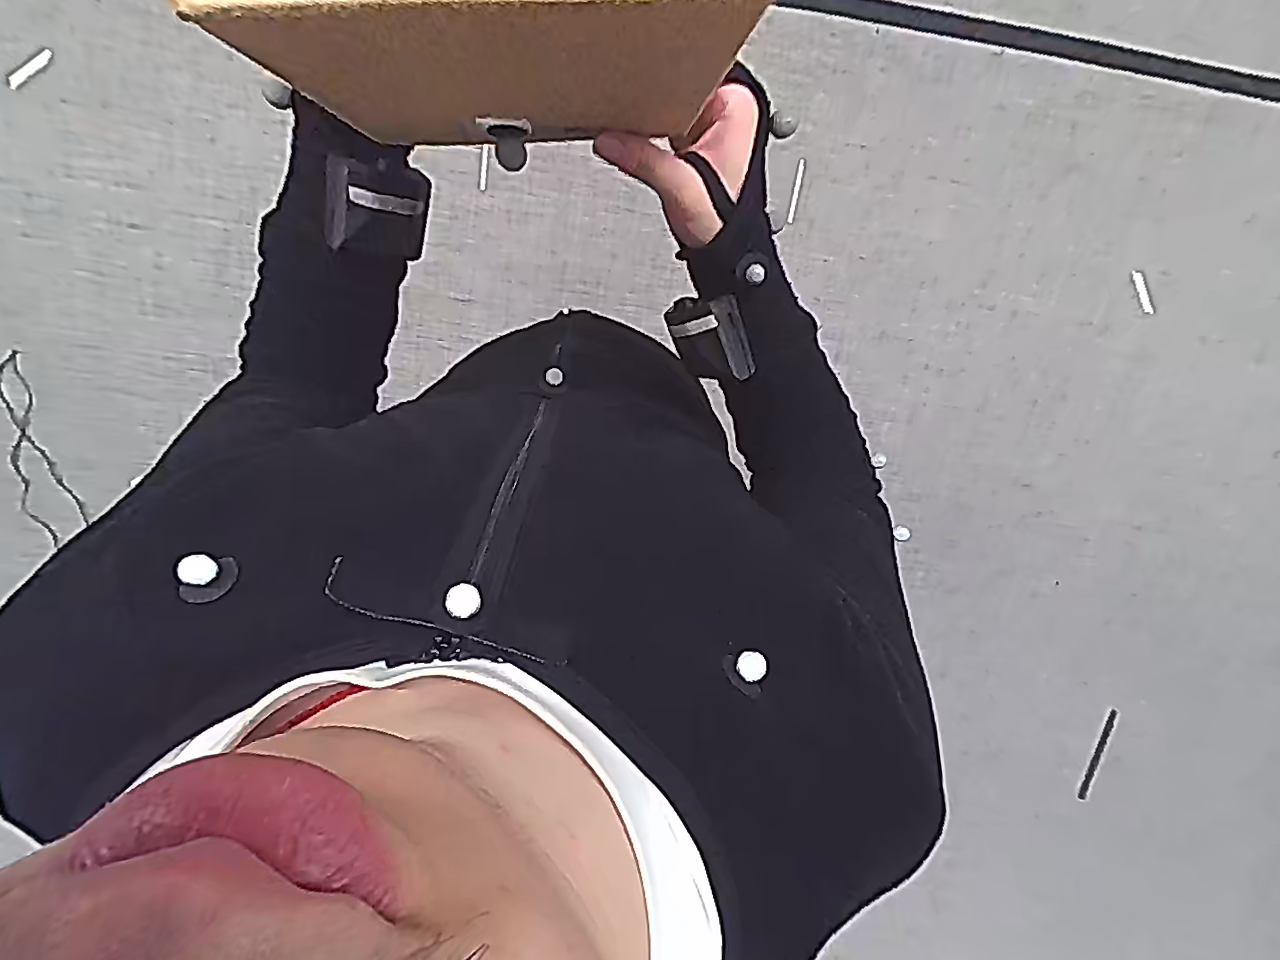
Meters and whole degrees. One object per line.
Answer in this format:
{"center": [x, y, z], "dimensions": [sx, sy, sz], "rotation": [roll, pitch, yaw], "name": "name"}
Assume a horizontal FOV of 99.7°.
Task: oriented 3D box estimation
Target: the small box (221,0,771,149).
{"center": [-0.052, -0.245, 0.202], "dimensions": [0.168, 0.176, 0.179], "rotation": [-5, 111, -3], "name": "small box"}
